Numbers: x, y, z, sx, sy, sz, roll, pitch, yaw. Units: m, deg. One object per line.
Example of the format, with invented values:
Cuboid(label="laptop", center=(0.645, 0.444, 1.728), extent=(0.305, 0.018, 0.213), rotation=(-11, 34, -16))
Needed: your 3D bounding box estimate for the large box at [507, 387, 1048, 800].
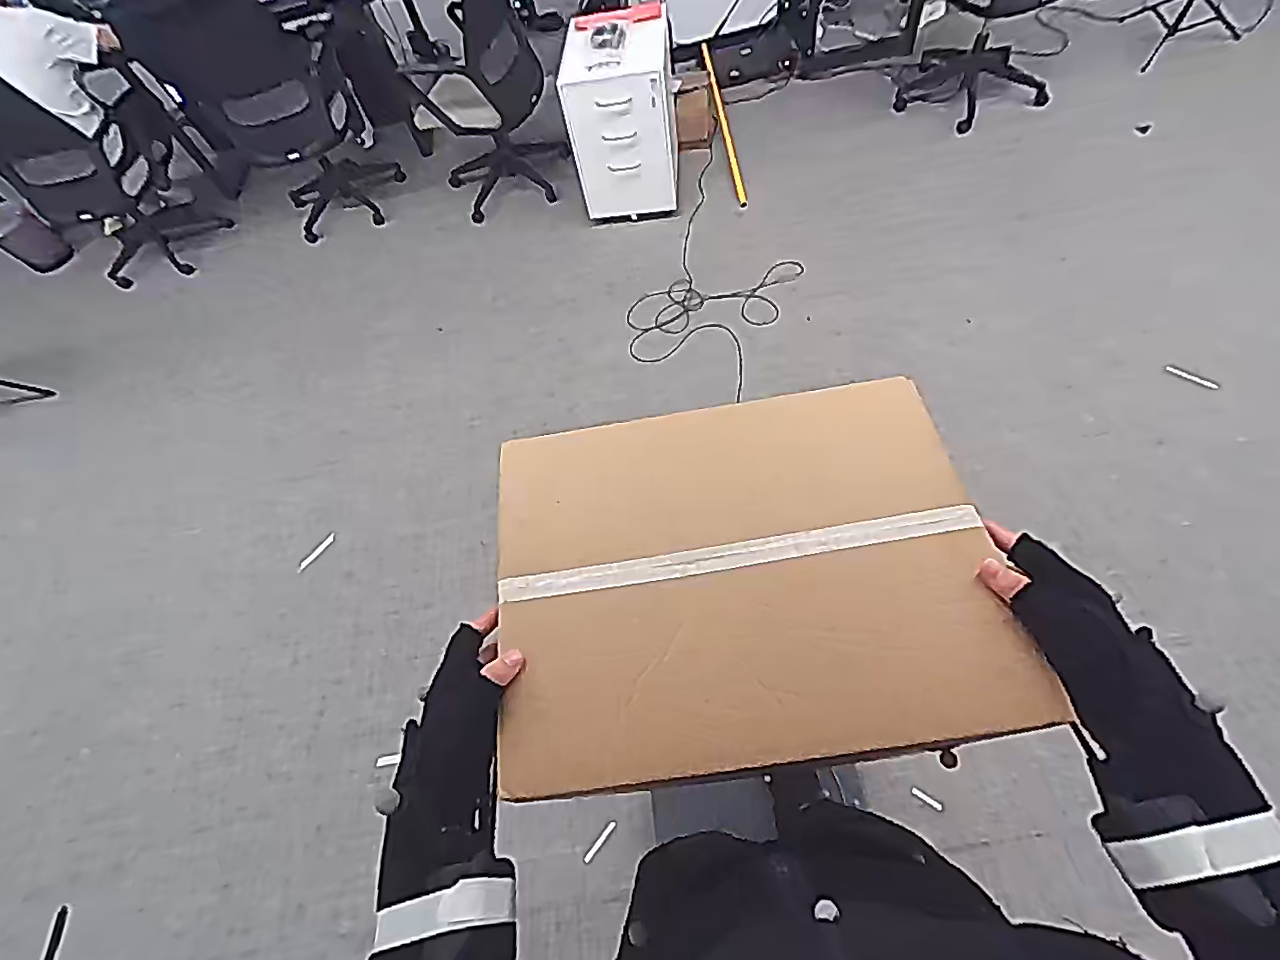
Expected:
Cuboid(label="large box", center=(0.098, 0.142, 0.594), extent=(0.408, 0.320, 0.320), rotation=(-9, 59, 2))
